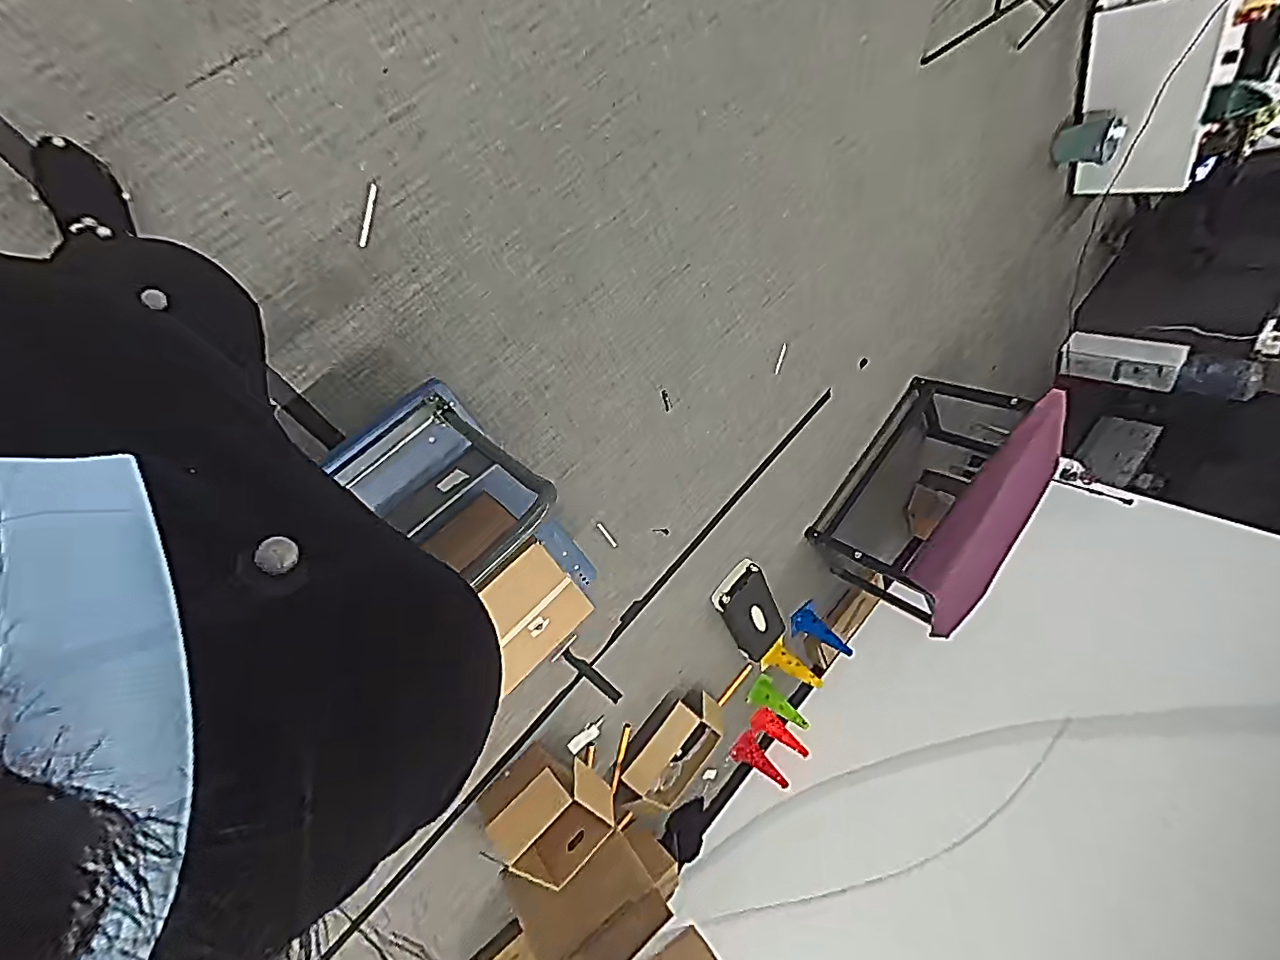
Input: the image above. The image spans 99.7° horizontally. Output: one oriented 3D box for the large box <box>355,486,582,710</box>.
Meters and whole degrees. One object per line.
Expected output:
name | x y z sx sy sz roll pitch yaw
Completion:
large box | -0.437 0.293 1.402 0.408 0.320 0.320 -44 133 -17
